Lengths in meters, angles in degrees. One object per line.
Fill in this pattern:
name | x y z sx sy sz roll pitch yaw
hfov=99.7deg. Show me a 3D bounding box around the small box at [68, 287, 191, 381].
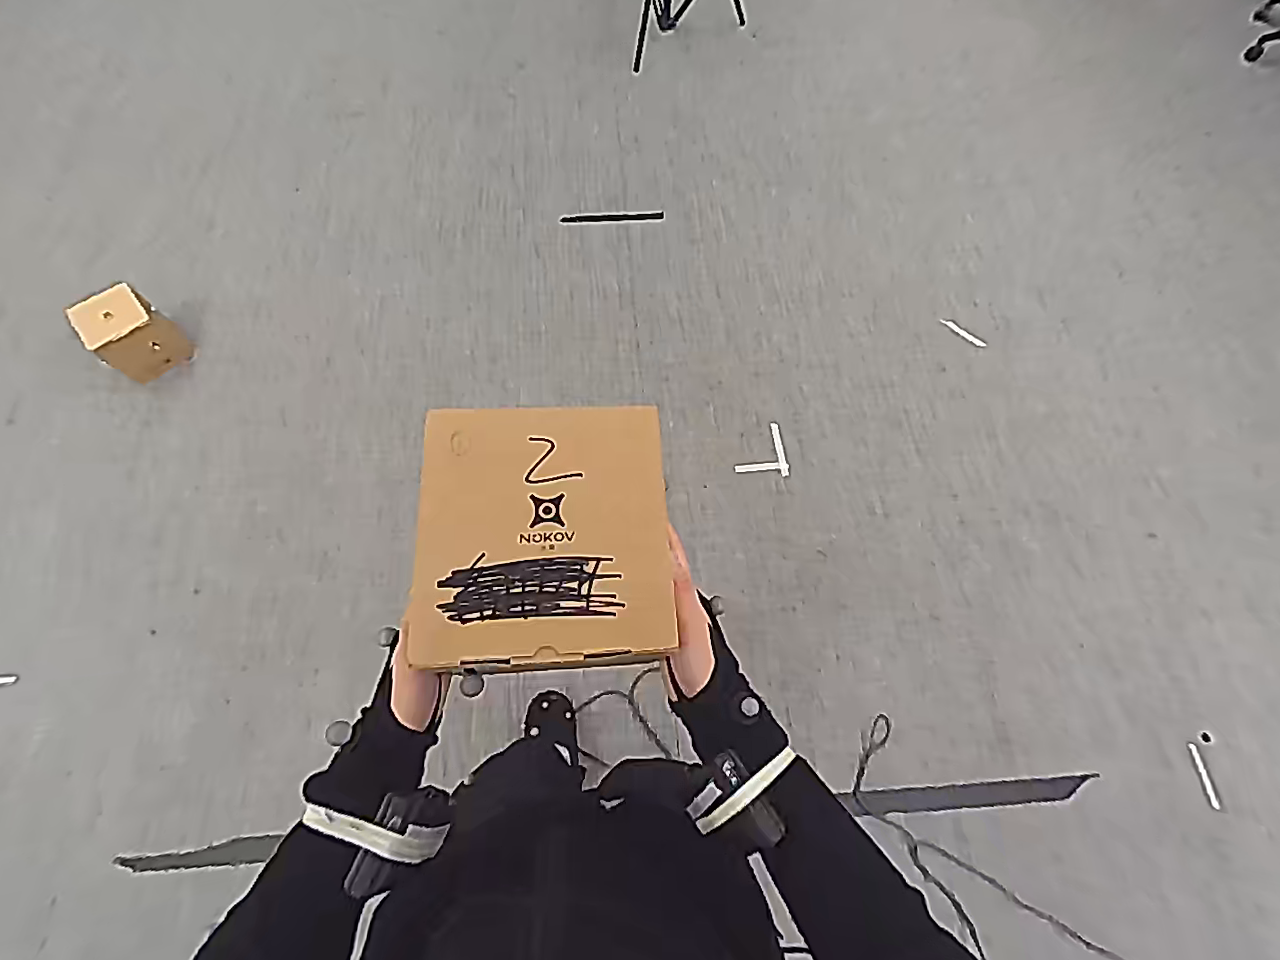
small box | -1.460 -0.410 1.560 0.168 0.176 0.179 -39 73 -17
